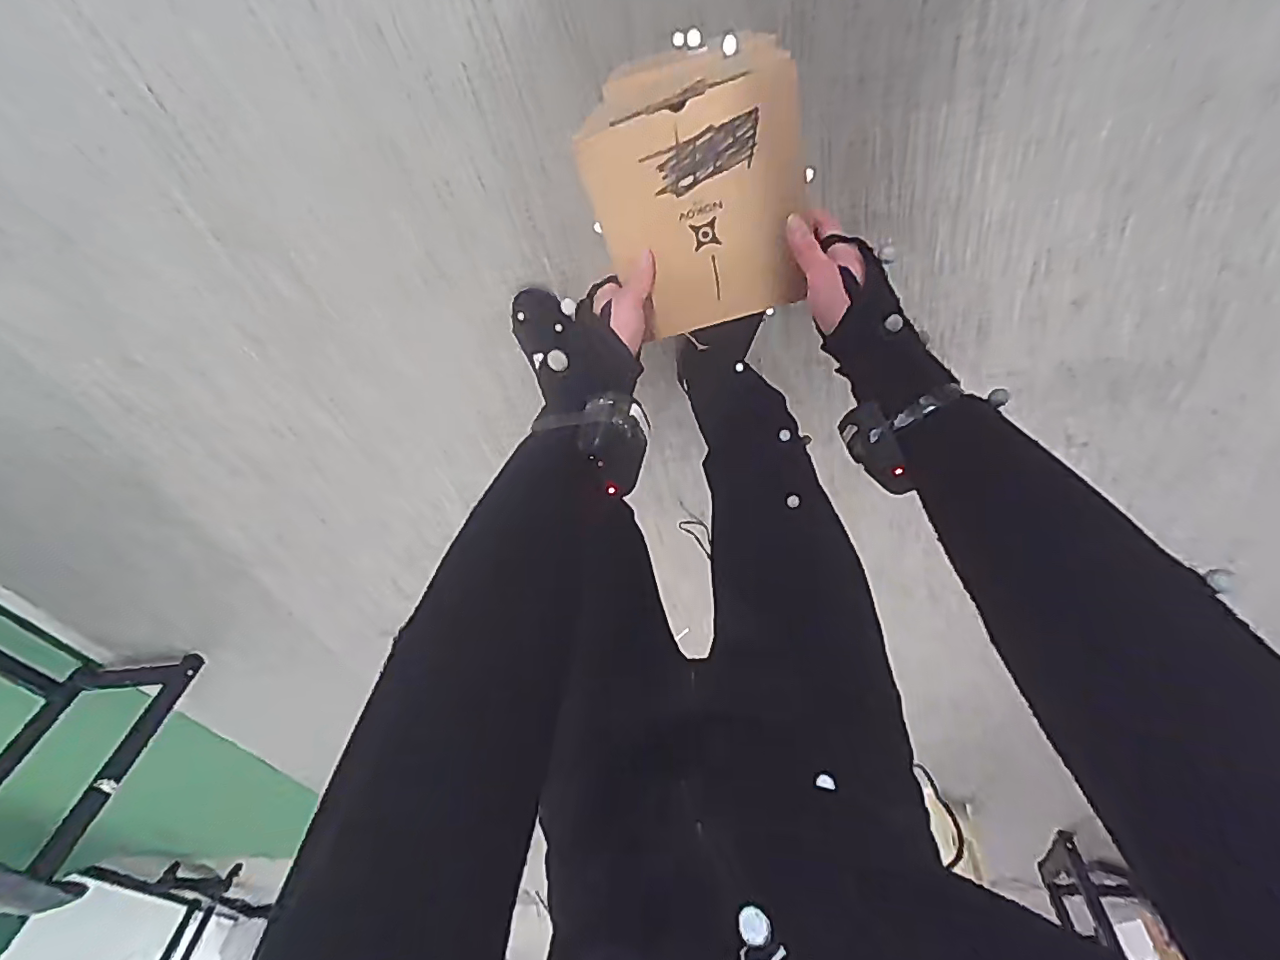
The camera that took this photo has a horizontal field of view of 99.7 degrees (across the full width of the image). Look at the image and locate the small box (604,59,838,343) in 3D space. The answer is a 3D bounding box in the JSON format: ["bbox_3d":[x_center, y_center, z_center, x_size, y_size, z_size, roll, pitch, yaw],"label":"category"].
[{"bbox_3d":[0.075,-0.251,0.483,0.168,0.176,0.179,-7,130,12],"label":"small box"}]

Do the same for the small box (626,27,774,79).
[{"bbox_3d":[0.090,-0.489,0.737,0.179,0.176,0.168,-8,129,10],"label":"small box"}]

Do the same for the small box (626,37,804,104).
[{"bbox_3d":[0.086,-0.367,0.603,0.168,0.176,0.179,-8,128,9],"label":"small box"}]
